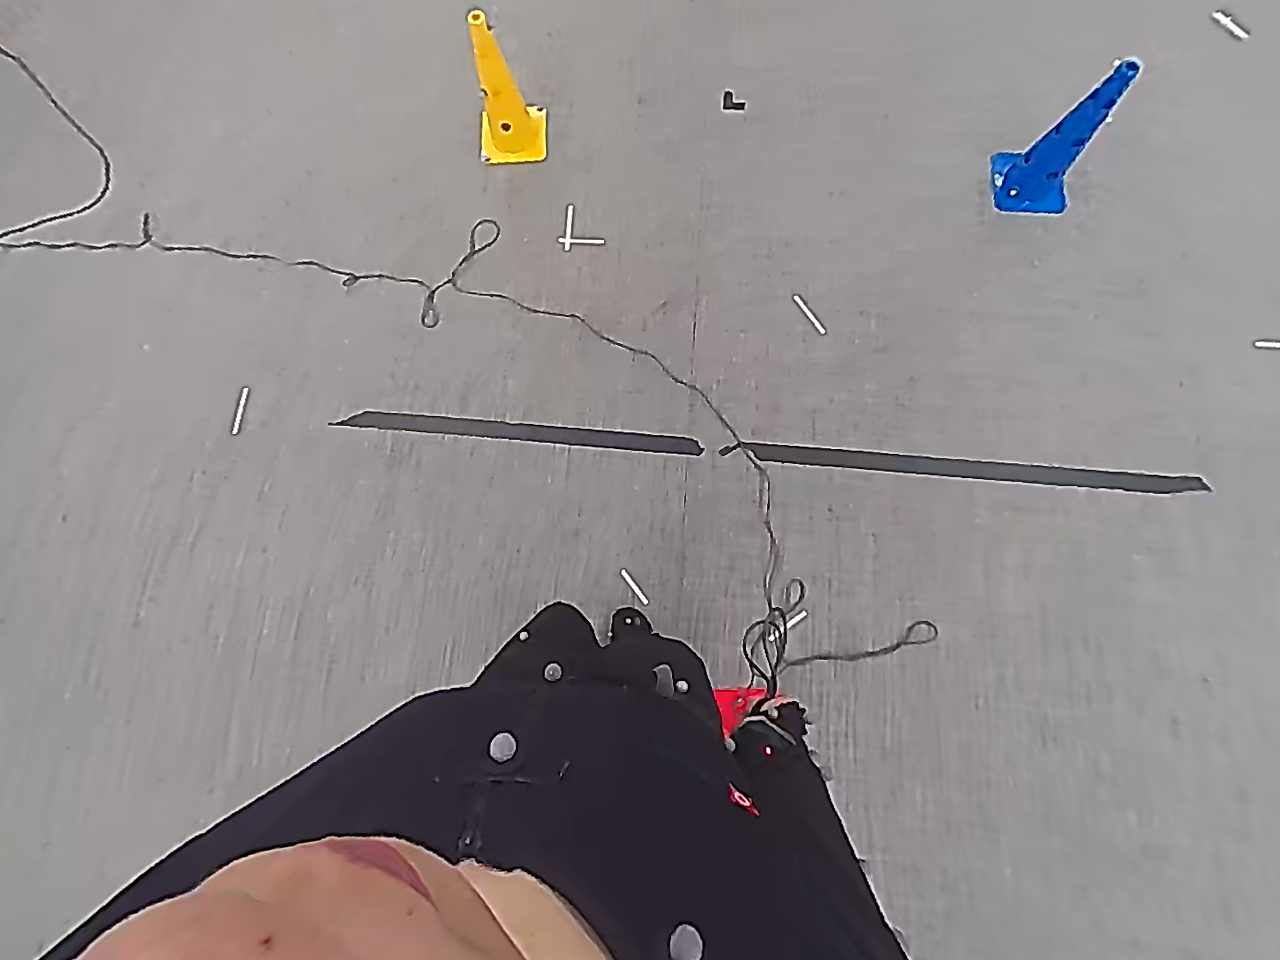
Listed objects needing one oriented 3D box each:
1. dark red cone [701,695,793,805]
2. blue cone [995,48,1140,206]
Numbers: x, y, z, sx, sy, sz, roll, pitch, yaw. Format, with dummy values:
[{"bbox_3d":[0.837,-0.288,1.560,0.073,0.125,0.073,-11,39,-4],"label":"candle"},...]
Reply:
[{"bbox_3d":[0.240,0.570,1.092,0.202,0.394,0.201,-3,77,1],"label":"dark red cone"},{"bbox_3d":[1.129,-0.917,1.408,0.193,0.380,0.192,5,77,3],"label":"blue cone"}]
